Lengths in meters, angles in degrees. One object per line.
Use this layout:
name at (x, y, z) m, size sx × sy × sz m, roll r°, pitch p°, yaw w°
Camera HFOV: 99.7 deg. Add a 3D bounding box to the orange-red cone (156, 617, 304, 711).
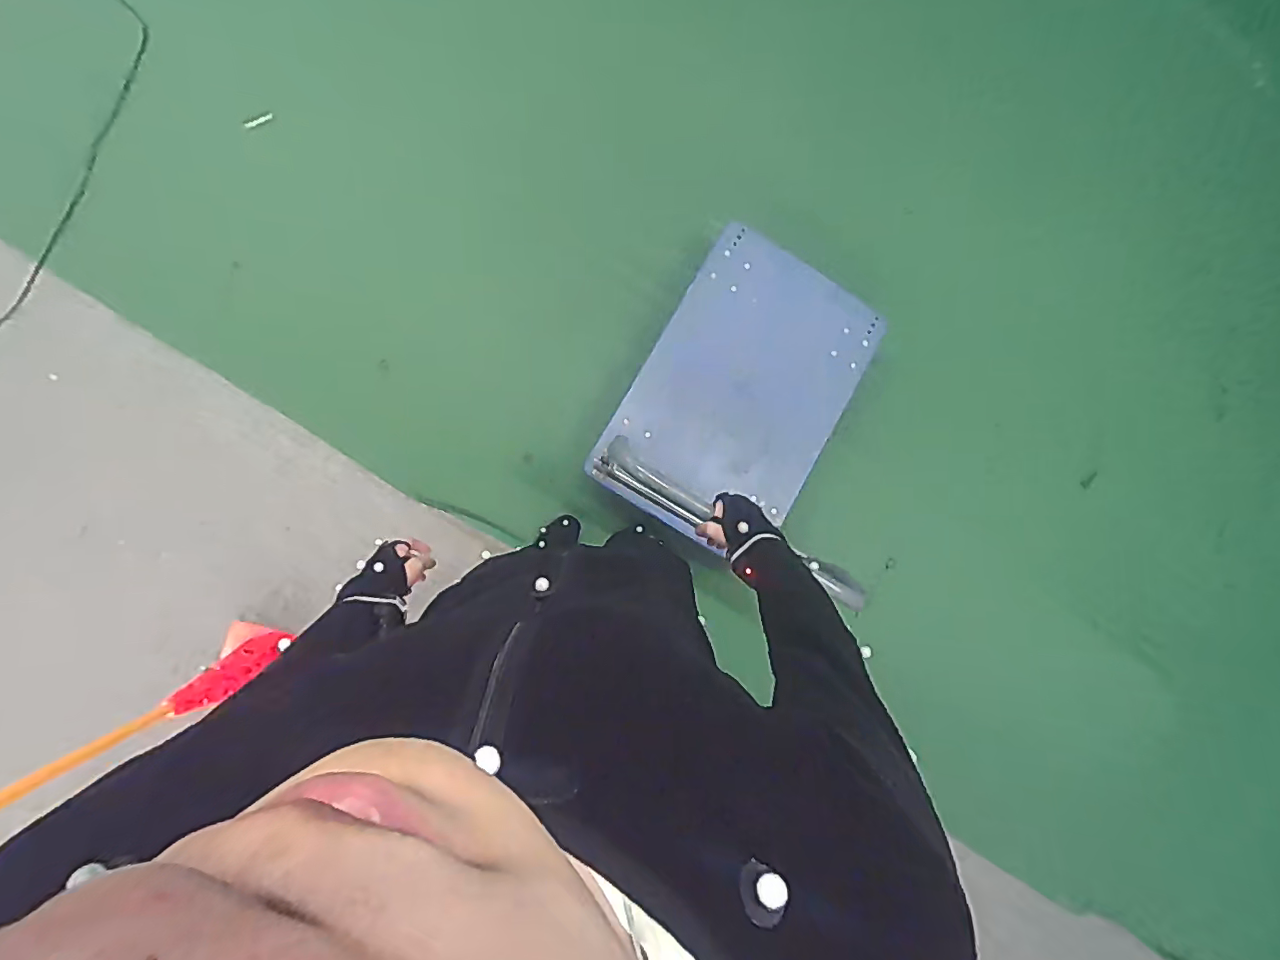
orange-red cone at (-1.036, 0.485, 1.325) m, size 0.199 × 0.360 × 0.198 m, roll 19°, pitch 85°, yaw -5°
